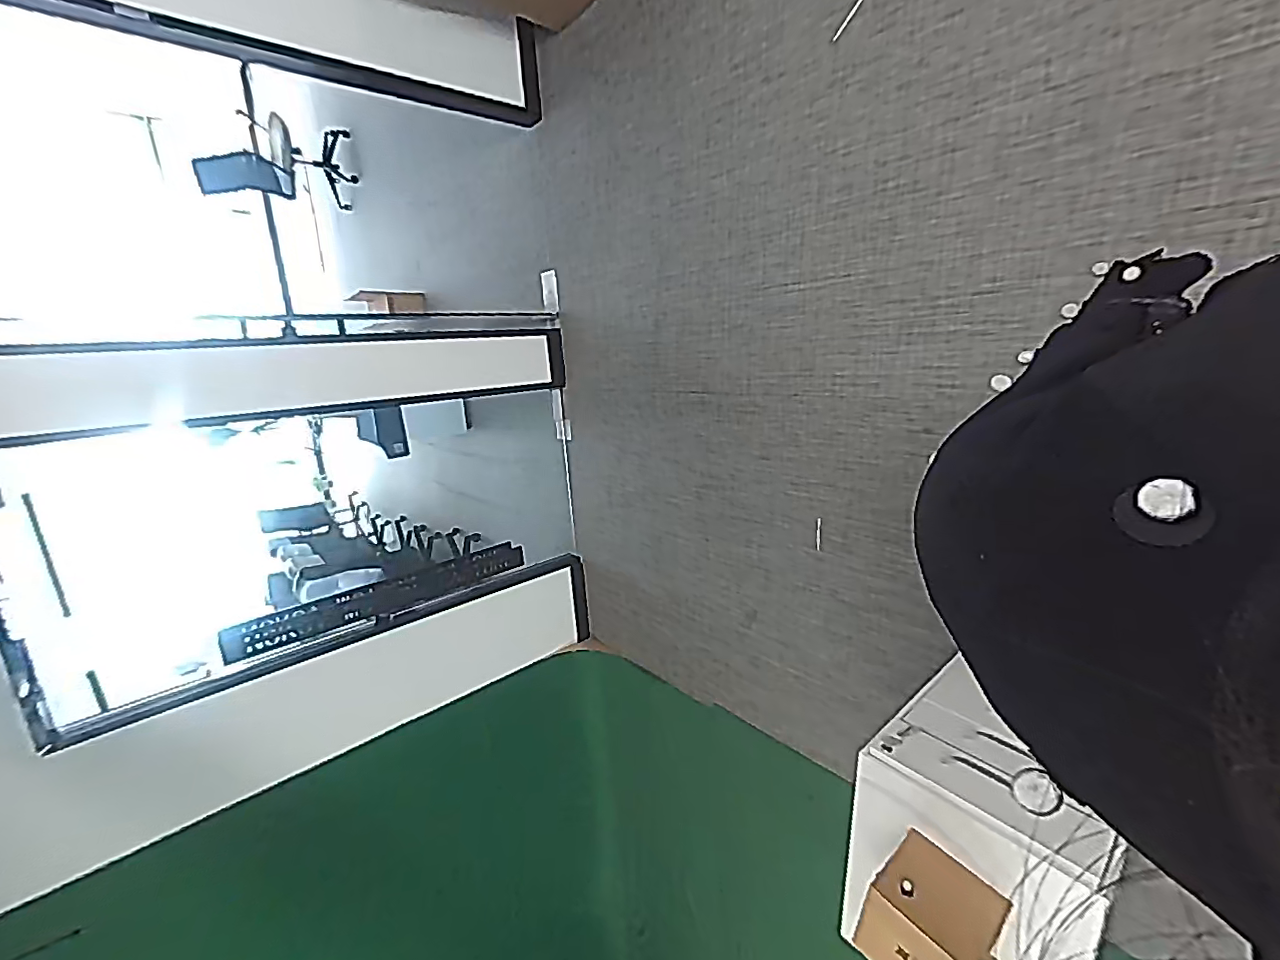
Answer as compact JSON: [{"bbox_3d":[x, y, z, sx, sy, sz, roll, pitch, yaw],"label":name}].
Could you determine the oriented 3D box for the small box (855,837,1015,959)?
[{"bbox_3d":[0.514,0.775,0.950,0.179,0.176,0.168,26,121,44],"label":"small box"}]
